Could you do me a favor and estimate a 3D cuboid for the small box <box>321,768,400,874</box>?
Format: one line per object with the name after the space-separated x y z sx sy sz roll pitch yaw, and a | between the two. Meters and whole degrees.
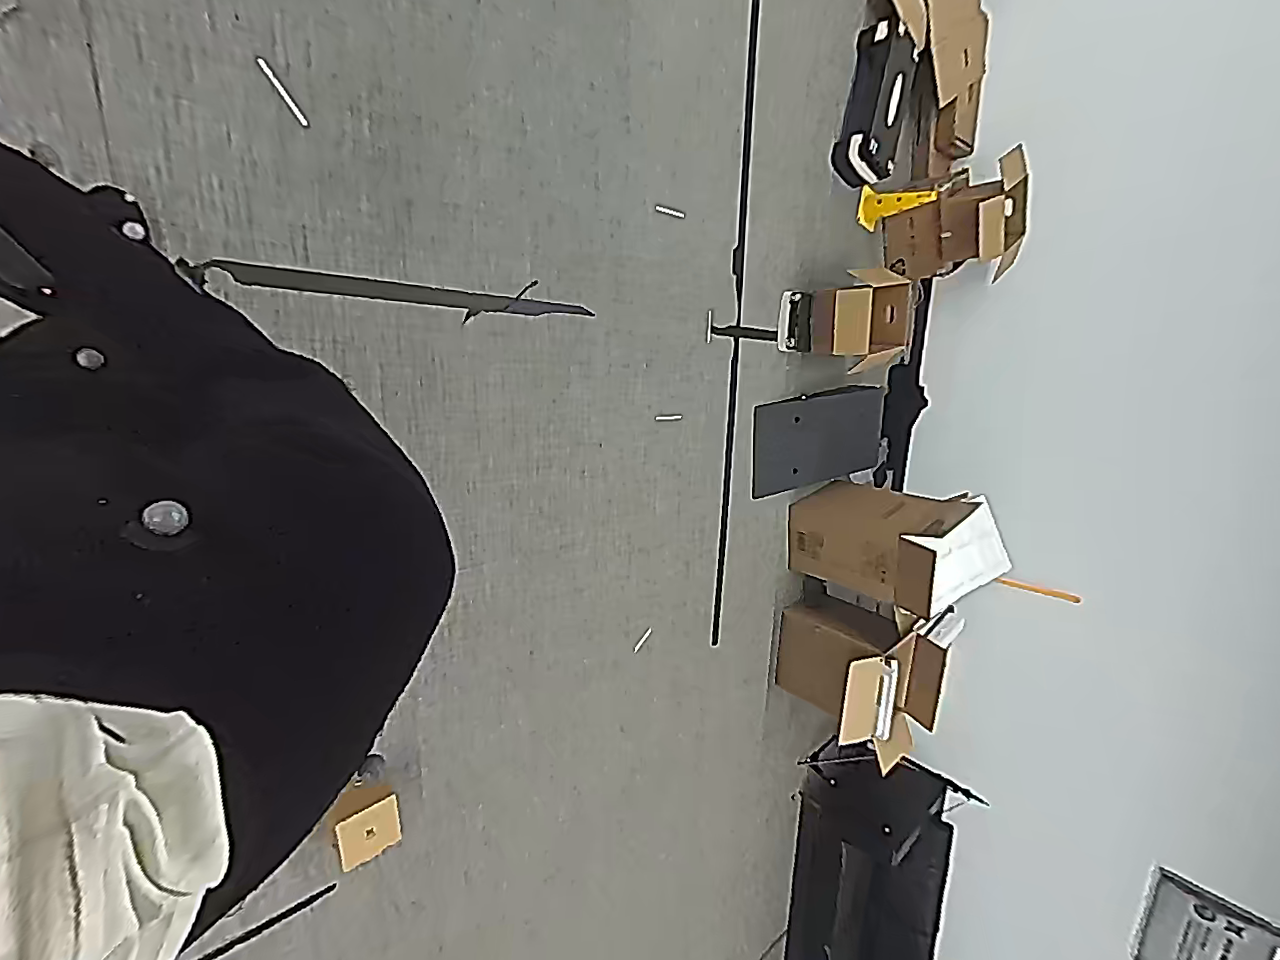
-0.847 1.023 1.638 0.168 0.176 0.179 -13 109 -41 | small box
